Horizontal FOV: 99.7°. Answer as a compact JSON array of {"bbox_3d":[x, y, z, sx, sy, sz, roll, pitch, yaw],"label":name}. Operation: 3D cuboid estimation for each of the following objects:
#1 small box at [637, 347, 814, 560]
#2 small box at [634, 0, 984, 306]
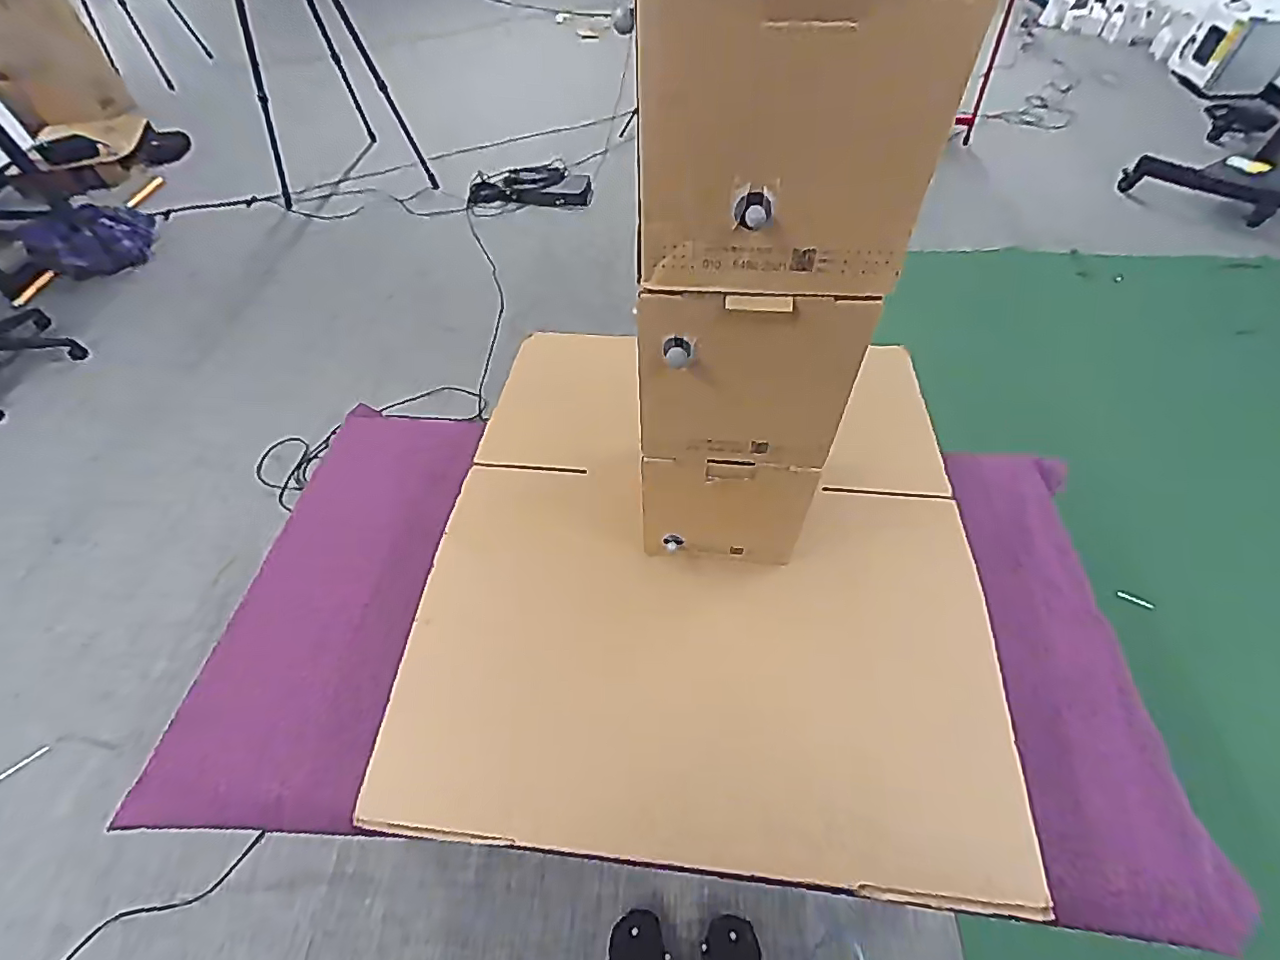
[{"bbox_3d":[0.090,-0.027,0.609,0.168,0.176,0.179,4,51,5],"label":"small box"},{"bbox_3d":[0.084,-0.240,0.361,0.168,0.176,0.179,2,51,3],"label":"small box"}]
